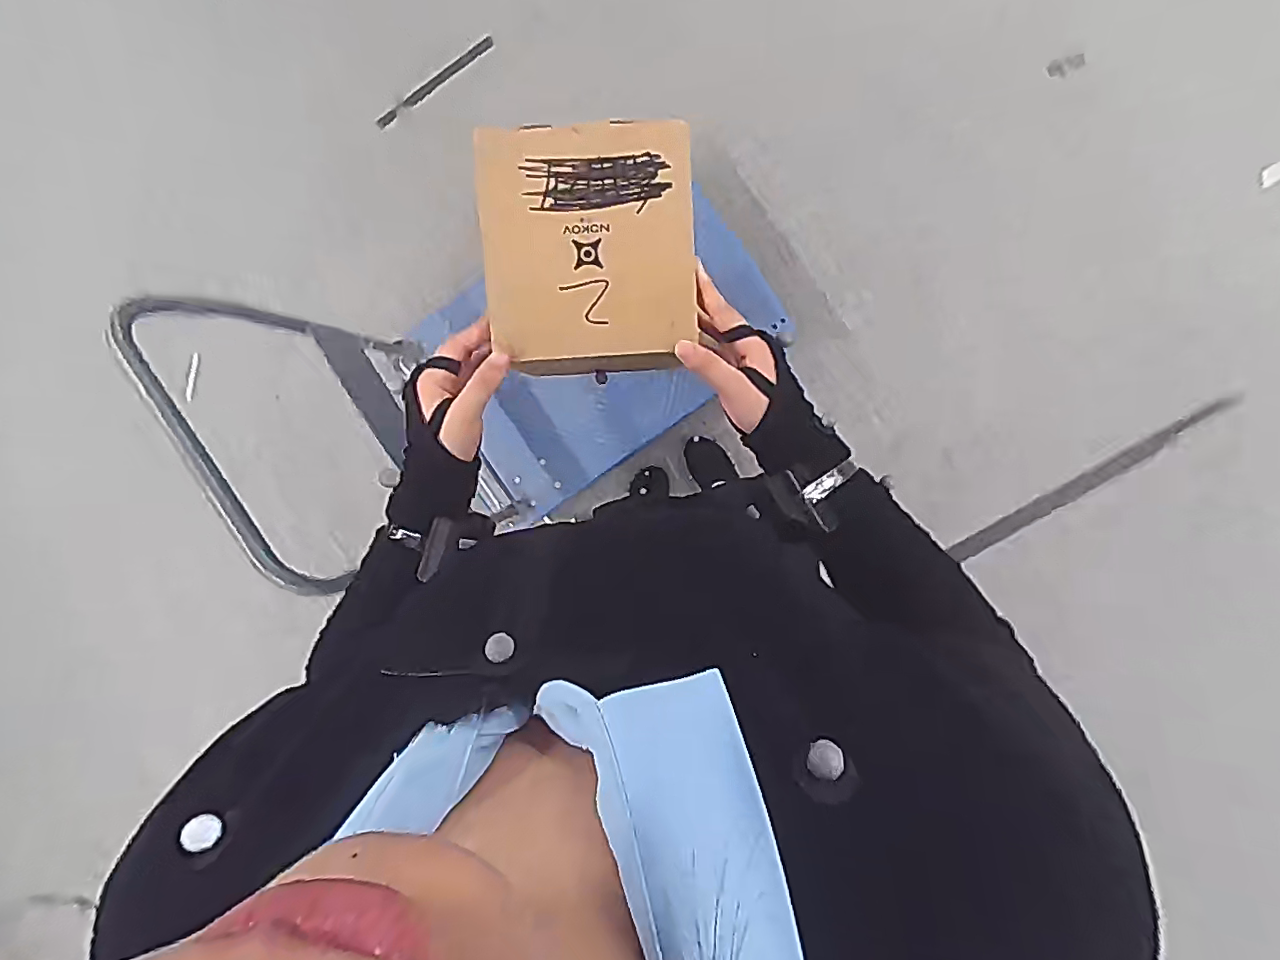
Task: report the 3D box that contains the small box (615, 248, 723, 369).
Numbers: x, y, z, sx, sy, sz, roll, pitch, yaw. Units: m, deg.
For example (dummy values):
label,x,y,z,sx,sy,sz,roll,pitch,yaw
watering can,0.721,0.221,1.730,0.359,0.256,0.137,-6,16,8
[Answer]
label,x,y,z,sx,sy,sz,roll,pitch,yaw
small box,0.068,-0.368,1.195,0.168,0.176,0.179,-31,89,8
